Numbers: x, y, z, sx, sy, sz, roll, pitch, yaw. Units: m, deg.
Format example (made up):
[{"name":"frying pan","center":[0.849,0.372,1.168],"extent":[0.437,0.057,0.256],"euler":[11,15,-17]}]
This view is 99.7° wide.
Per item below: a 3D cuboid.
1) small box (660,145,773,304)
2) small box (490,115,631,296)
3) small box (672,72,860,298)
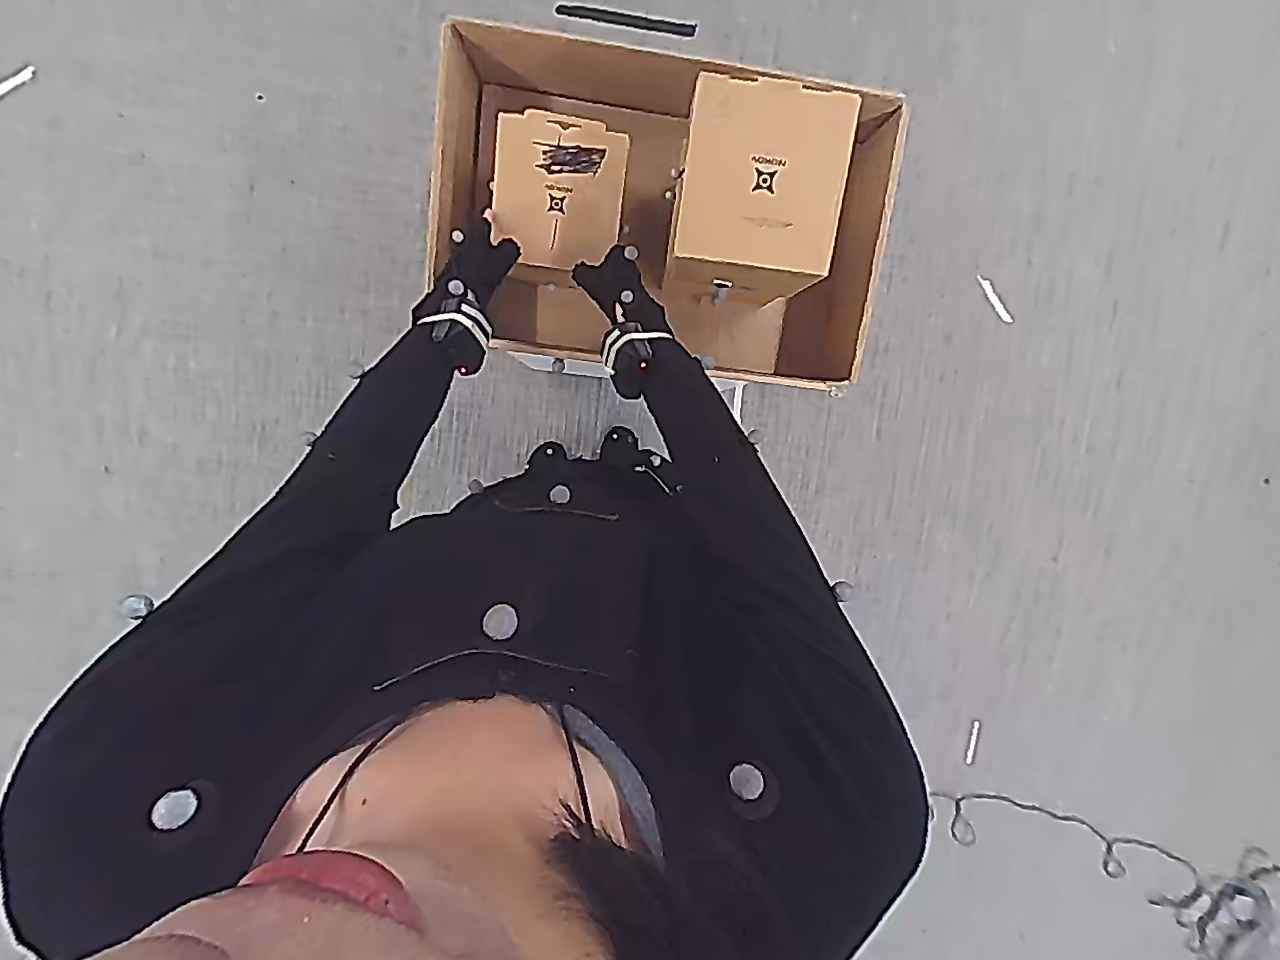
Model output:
[{"name":"small box","center":[0.131,-0.359,0.787],"extent":[0.179,0.176,0.168],"euler":[7,100,-3]},{"name":"small box","center":[-0.109,-0.374,0.769],"extent":[0.168,0.176,0.179],"euler":[7,101,-5]},{"name":"small box","center":[0.130,-0.323,0.628],"extent":[0.168,0.176,0.179],"euler":[7,101,0]}]
